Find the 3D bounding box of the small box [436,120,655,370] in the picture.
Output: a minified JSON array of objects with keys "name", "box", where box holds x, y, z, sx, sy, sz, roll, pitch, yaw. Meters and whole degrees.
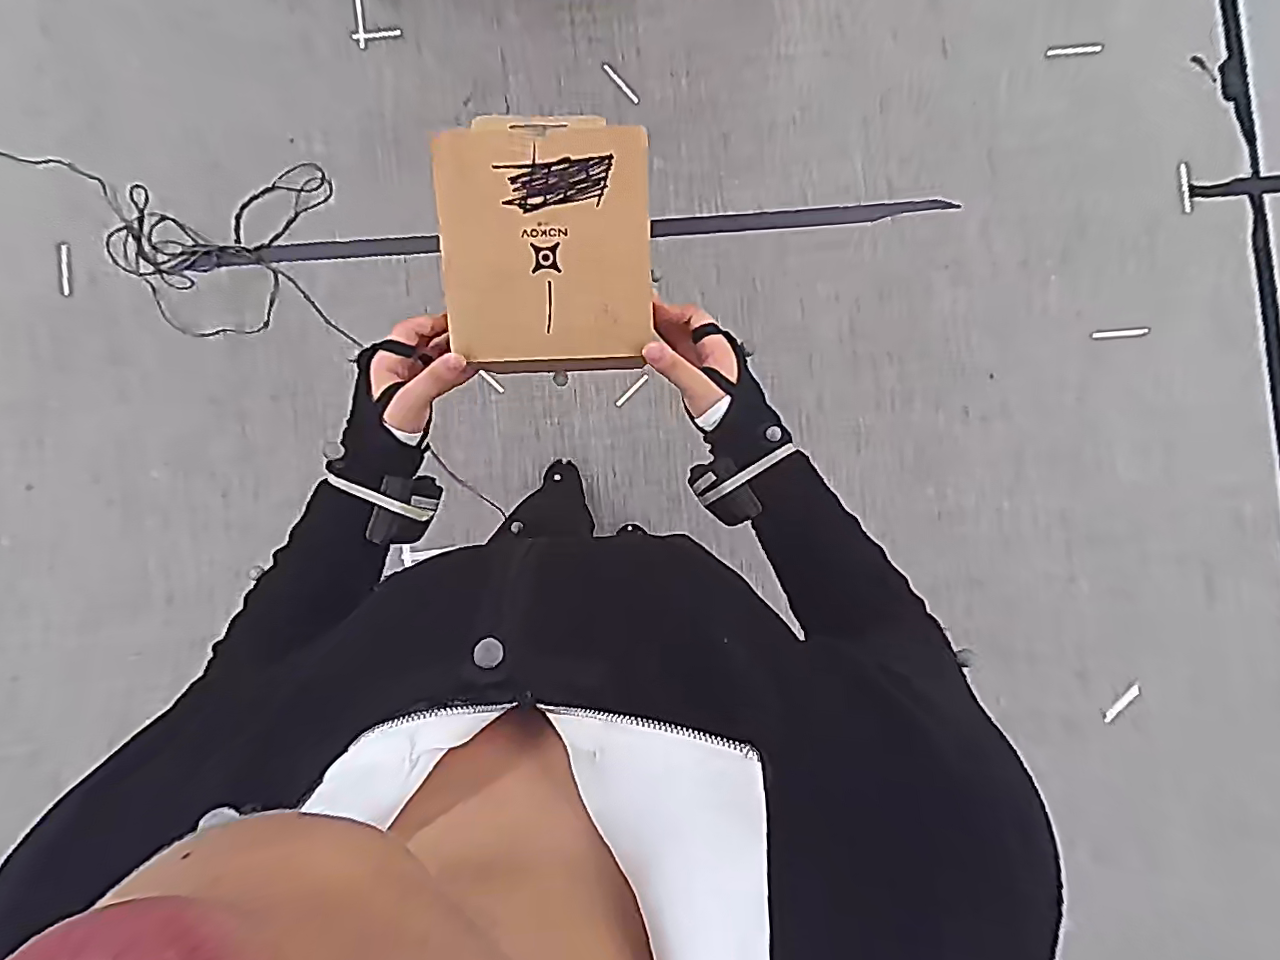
[{"name":"small box","box":[-0.076,-0.198,0.501,0.168,0.176,0.179,-2,99,-2]}]
